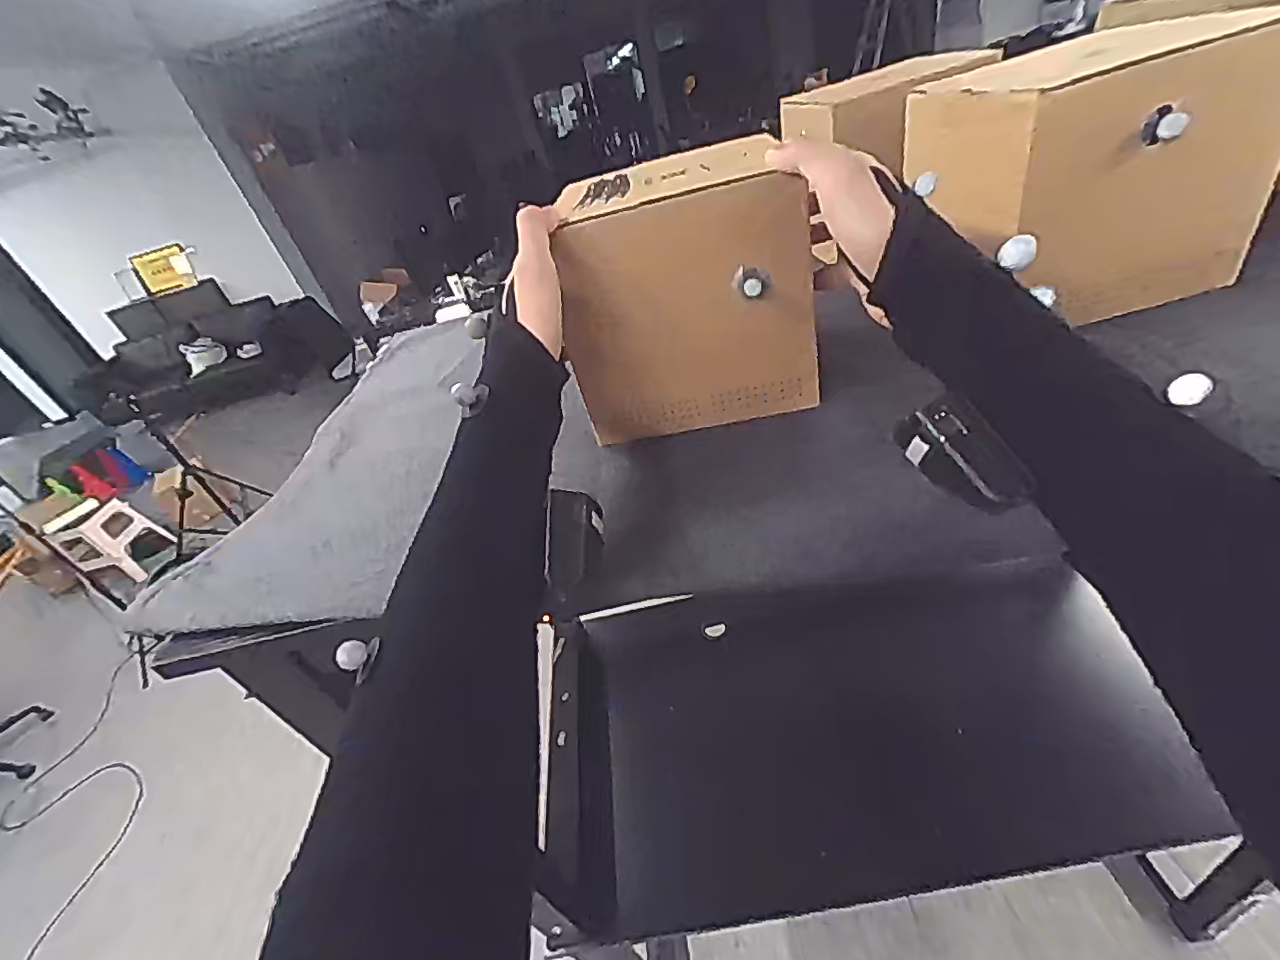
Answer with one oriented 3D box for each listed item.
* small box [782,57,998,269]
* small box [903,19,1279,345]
[{"bbox_3d":[0.274,-0.366,0.633,0.168,0.176,0.179,-14,37,5],"label":"small box"},{"bbox_3d":[0.331,-0.230,0.428,0.179,0.176,0.168,-14,35,4],"label":"small box"}]
